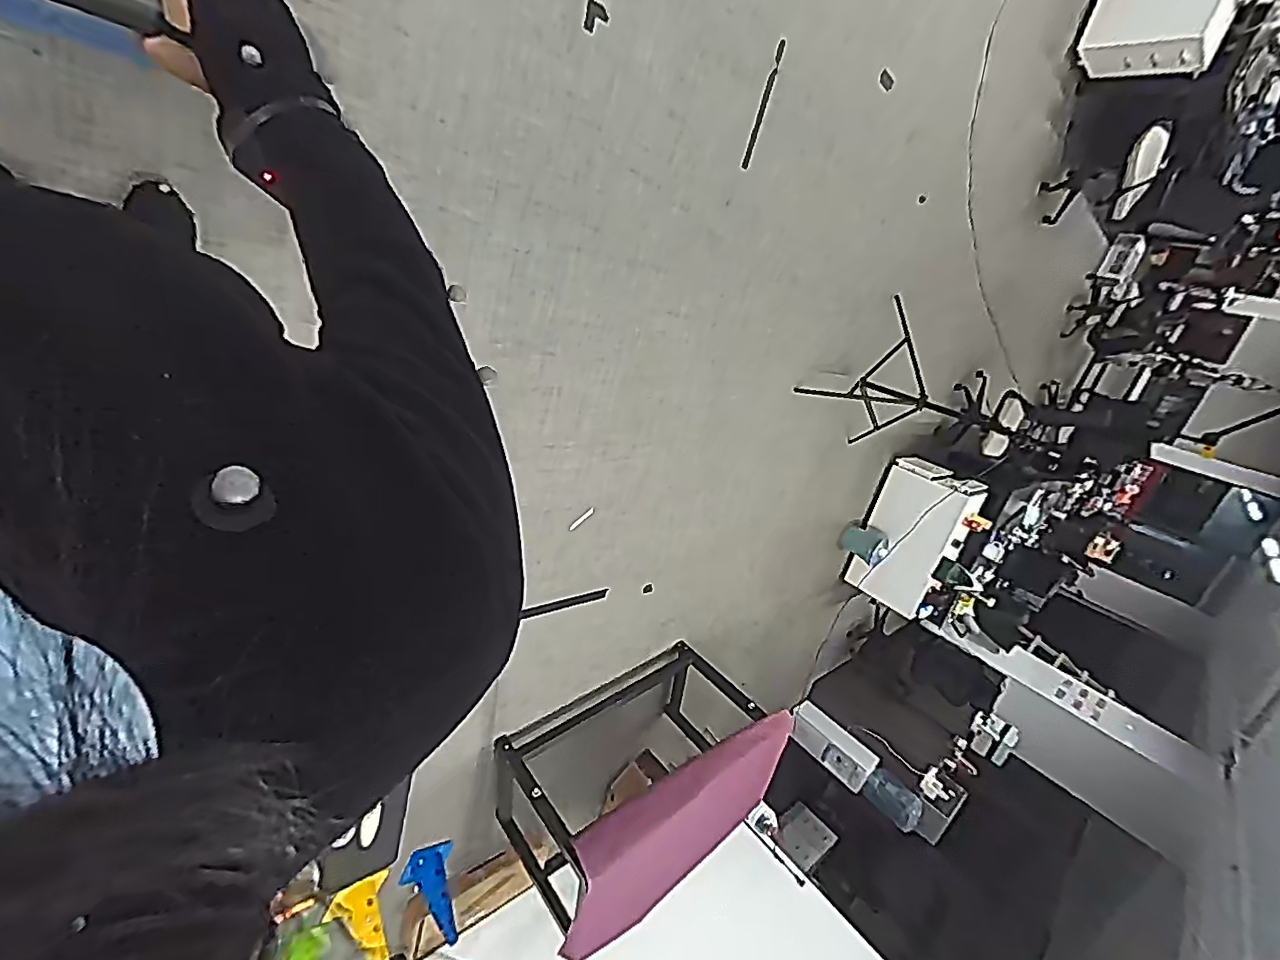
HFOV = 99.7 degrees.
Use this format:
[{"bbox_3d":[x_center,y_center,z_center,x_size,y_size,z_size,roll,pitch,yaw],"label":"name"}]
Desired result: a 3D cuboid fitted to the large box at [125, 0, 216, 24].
[{"bbox_3d":[-0.737,-0.793,0.594,0.408,0.320,0.320,-7,120,-43],"label":"large box"}]
